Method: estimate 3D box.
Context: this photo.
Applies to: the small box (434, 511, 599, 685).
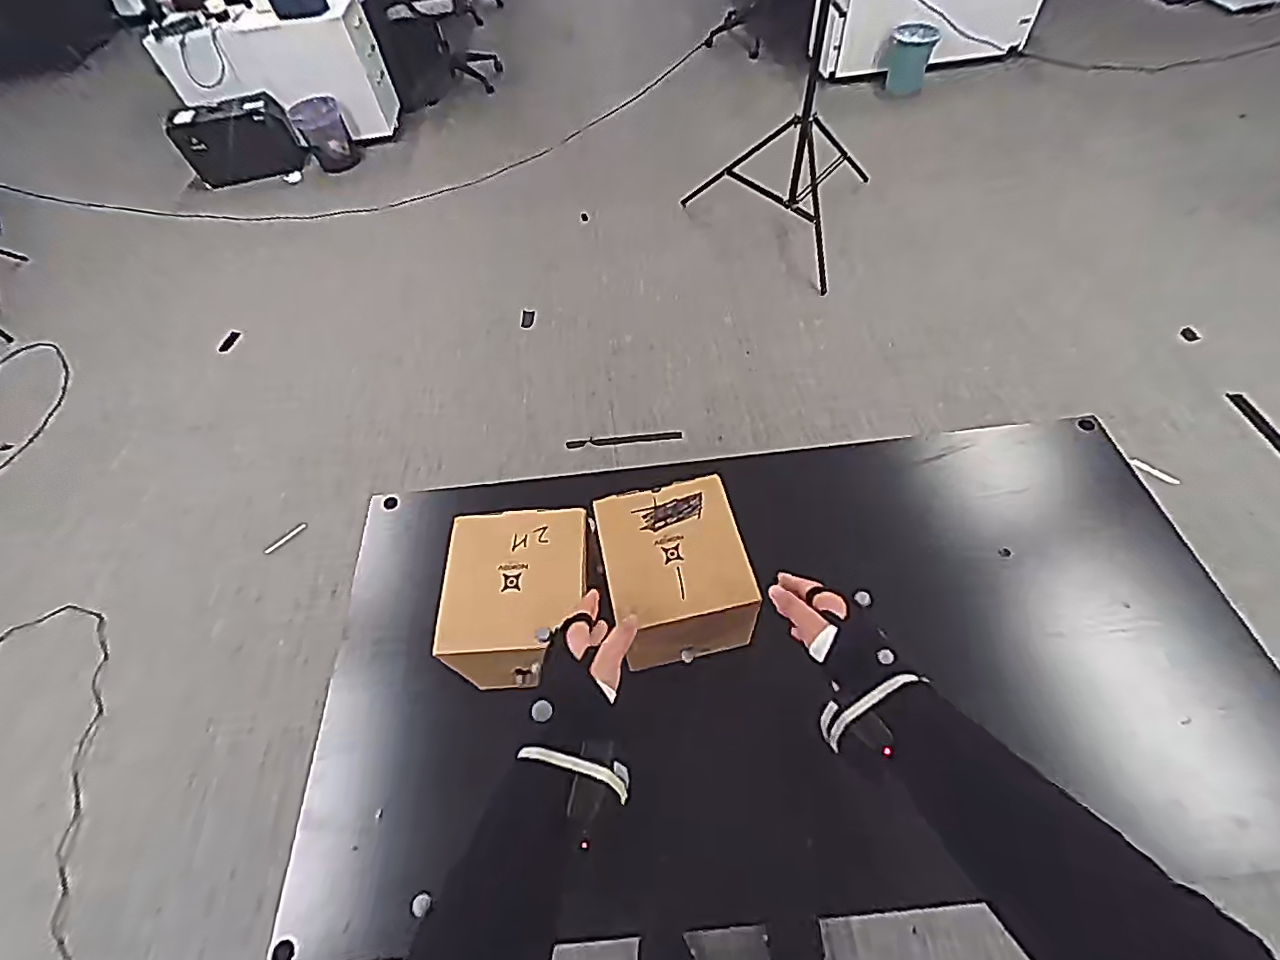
[{"bbox_3d":[-0.144,0.160,0.702,0.168,0.176,0.179,-4,56,2],"label":"small box"}]
